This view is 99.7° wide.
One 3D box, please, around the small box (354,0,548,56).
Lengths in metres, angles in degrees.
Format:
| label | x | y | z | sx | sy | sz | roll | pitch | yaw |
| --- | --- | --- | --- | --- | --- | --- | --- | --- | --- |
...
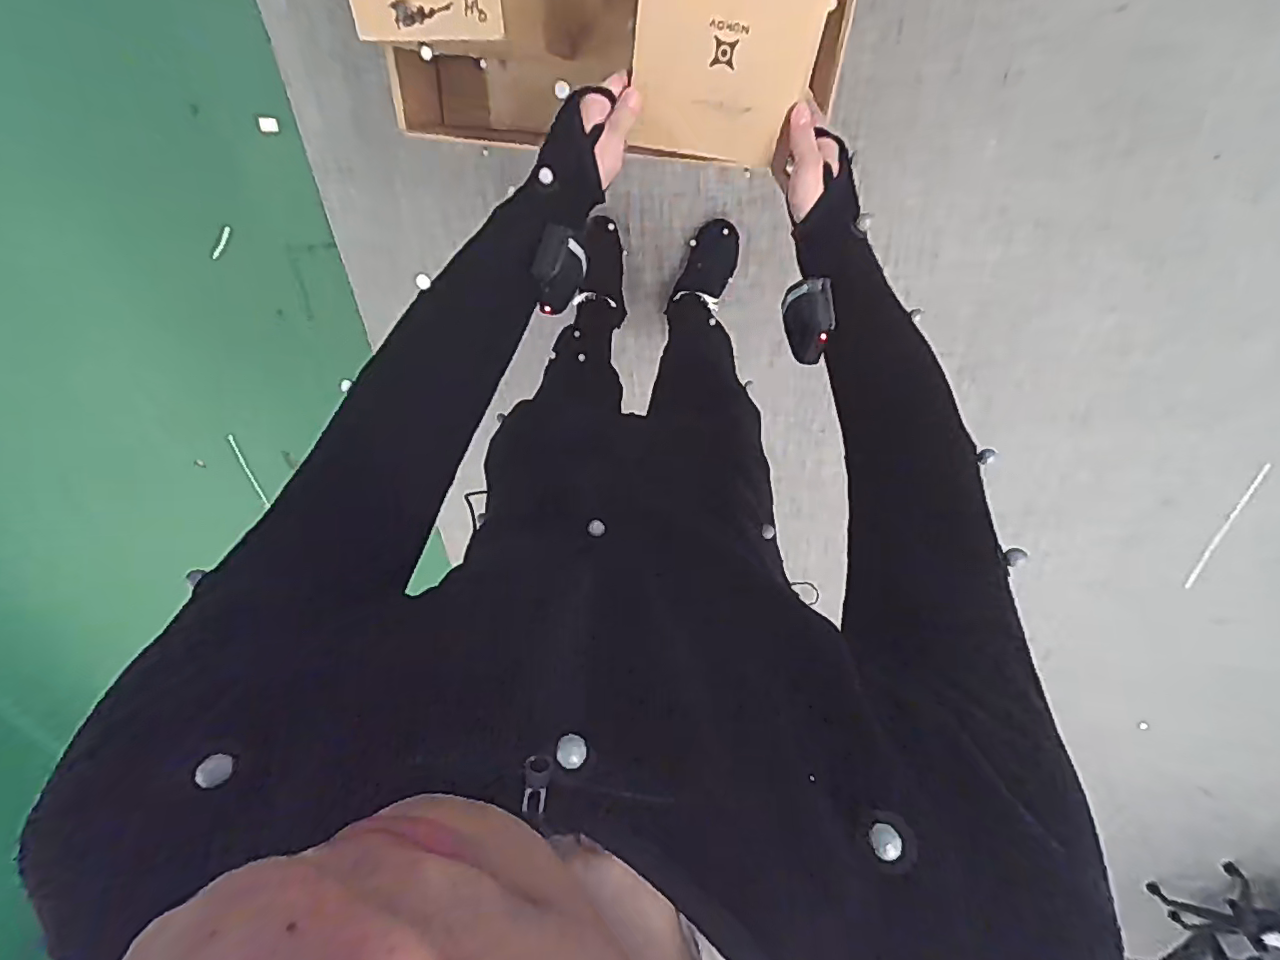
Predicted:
| label | x | y | z | sx | sy | sz | roll | pitch | yaw |
| --- | --- | --- | --- | --- | --- | --- | --- | --- | --- |
| small box | -0.208 | -0.588 | 0.598 | 0.168 | 0.176 | 0.179 | 6 | 125 | 8 |

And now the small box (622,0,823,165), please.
| label | x | y | z | sx | sy | sz | roll | pitch | yaw |
| --- | --- | --- | --- | --- | --- | --- | --- | --- | --- |
| small box | 0.082 | -0.448 | 0.549 | 0.168 | 0.176 | 0.179 | 10 | 132 | 2 |
